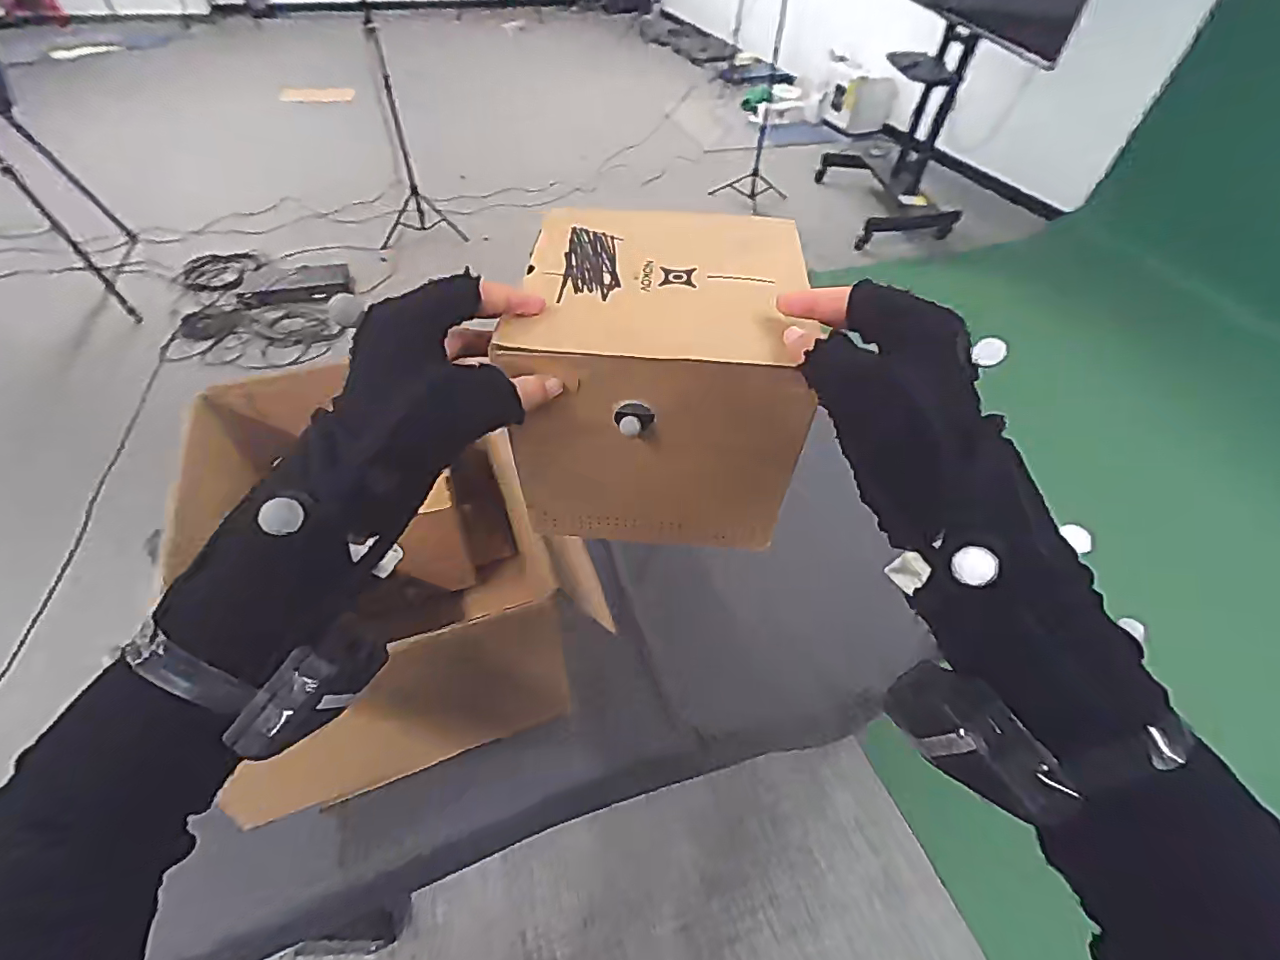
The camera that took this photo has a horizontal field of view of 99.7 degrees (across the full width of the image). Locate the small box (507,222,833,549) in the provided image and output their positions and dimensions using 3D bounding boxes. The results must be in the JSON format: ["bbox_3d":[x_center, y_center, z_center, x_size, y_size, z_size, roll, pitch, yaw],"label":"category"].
[{"bbox_3d":[0.021,-0.065,0.393,0.179,0.176,0.168,5,50,2],"label":"small box"}]
